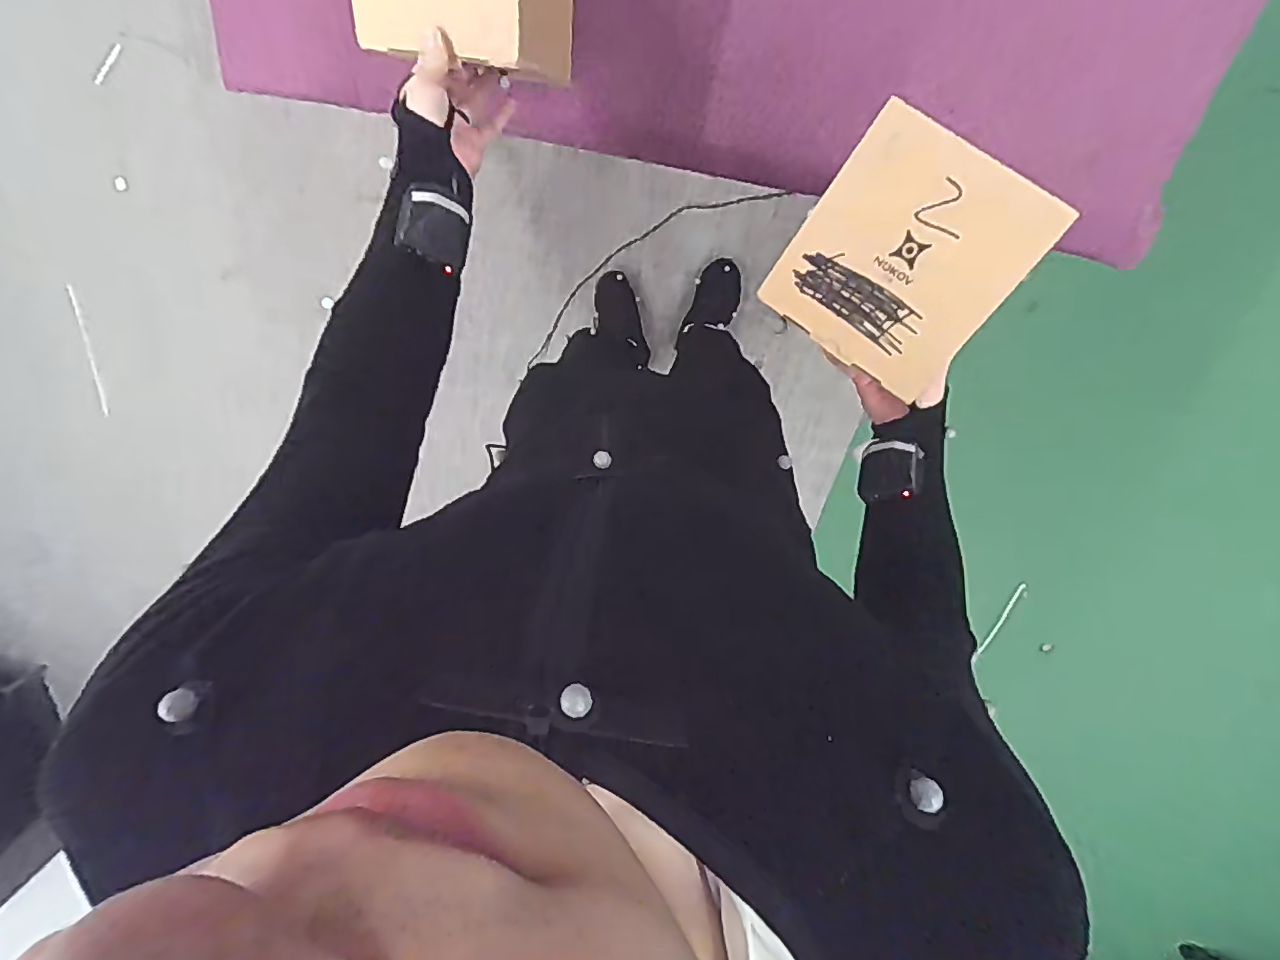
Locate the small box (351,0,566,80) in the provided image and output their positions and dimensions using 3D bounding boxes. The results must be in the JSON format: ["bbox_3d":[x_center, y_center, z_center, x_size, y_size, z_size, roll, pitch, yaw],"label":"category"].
[{"bbox_3d":[-0.172,-0.522,0.541,0.168,0.176,0.179,11,122,4],"label":"small box"}]
